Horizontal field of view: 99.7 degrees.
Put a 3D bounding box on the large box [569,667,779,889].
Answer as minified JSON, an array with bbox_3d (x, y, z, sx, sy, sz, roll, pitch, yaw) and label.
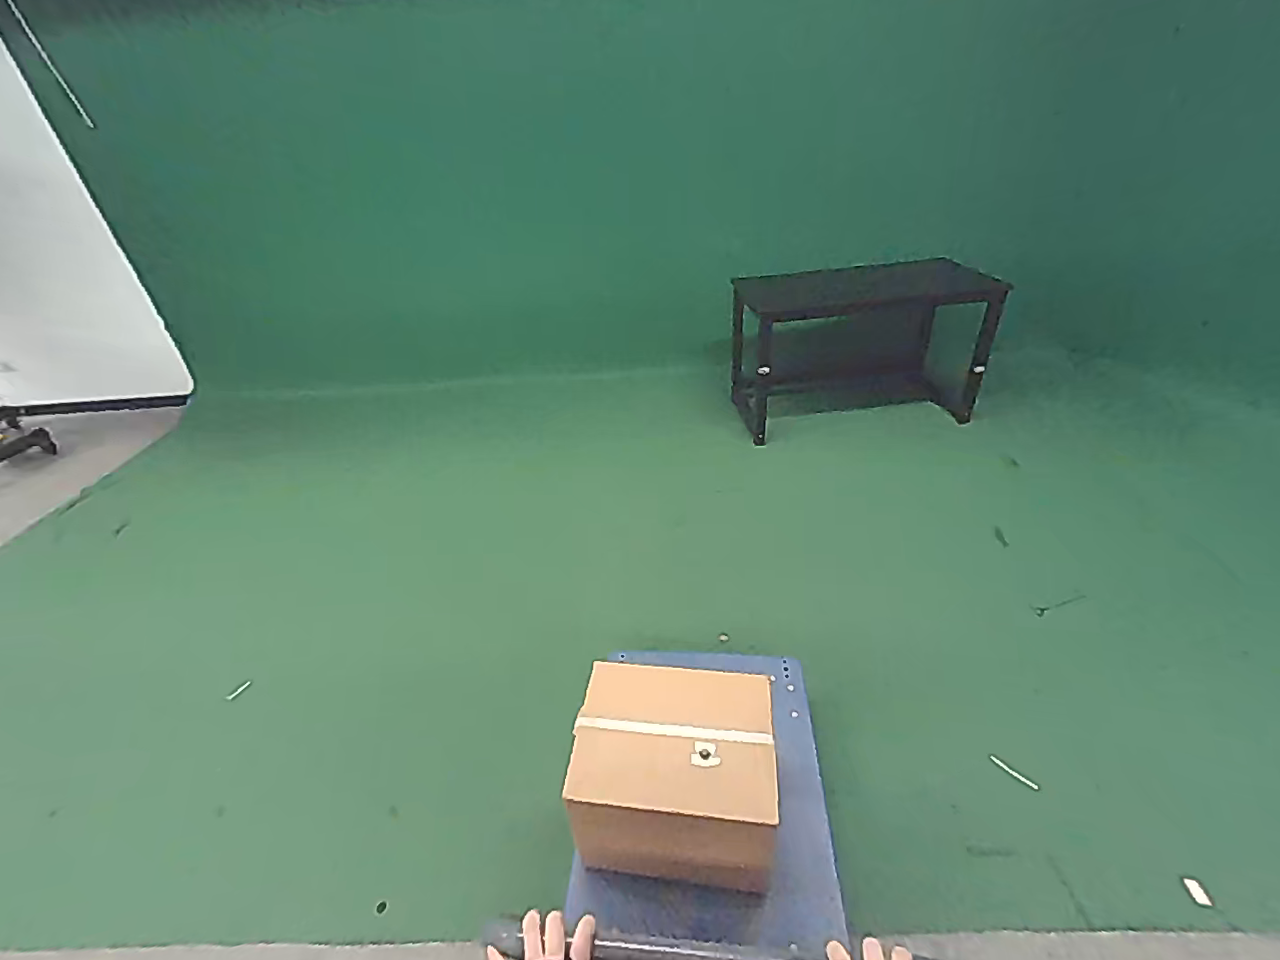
[{"bbox_3d":[0.082,0.657,1.214,0.408,0.320,0.320,2,34,8],"label":"large box"}]
